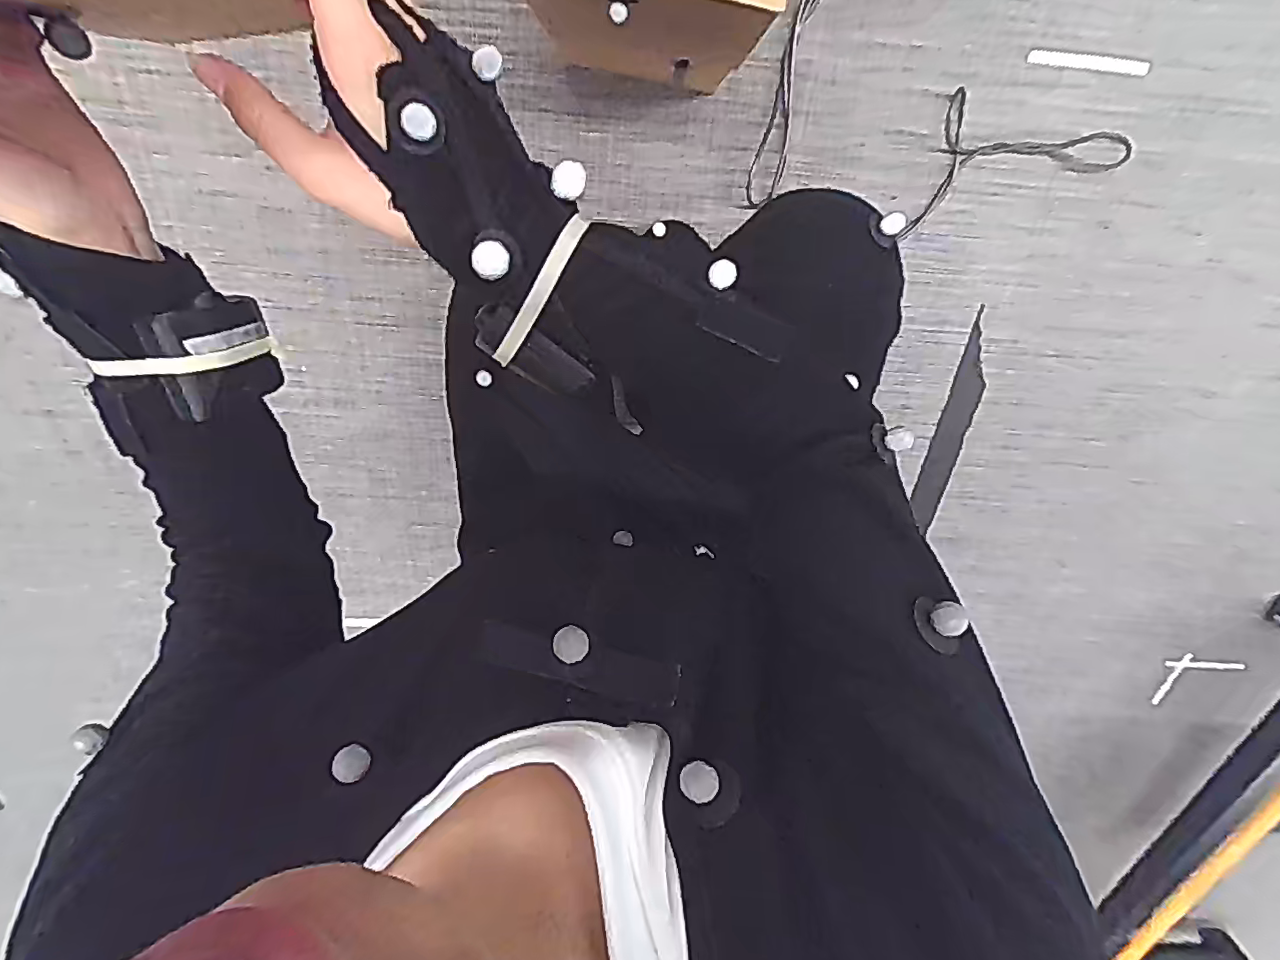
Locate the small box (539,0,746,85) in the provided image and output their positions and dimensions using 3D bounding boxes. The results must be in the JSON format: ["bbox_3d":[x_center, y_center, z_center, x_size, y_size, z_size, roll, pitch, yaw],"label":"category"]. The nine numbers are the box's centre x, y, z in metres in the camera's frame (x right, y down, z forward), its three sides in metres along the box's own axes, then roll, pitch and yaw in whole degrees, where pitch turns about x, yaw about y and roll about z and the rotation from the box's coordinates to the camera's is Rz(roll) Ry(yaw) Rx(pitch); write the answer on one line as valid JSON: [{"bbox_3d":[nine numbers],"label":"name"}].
[{"bbox_3d":[0.016,-0.481,0.487,0.179,0.176,0.168,9,116,-4],"label":"small box"}]

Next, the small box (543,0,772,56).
[{"bbox_3d":[0.017,-0.402,0.343,0.179,0.176,0.168,9,117,-6],"label":"small box"}]
